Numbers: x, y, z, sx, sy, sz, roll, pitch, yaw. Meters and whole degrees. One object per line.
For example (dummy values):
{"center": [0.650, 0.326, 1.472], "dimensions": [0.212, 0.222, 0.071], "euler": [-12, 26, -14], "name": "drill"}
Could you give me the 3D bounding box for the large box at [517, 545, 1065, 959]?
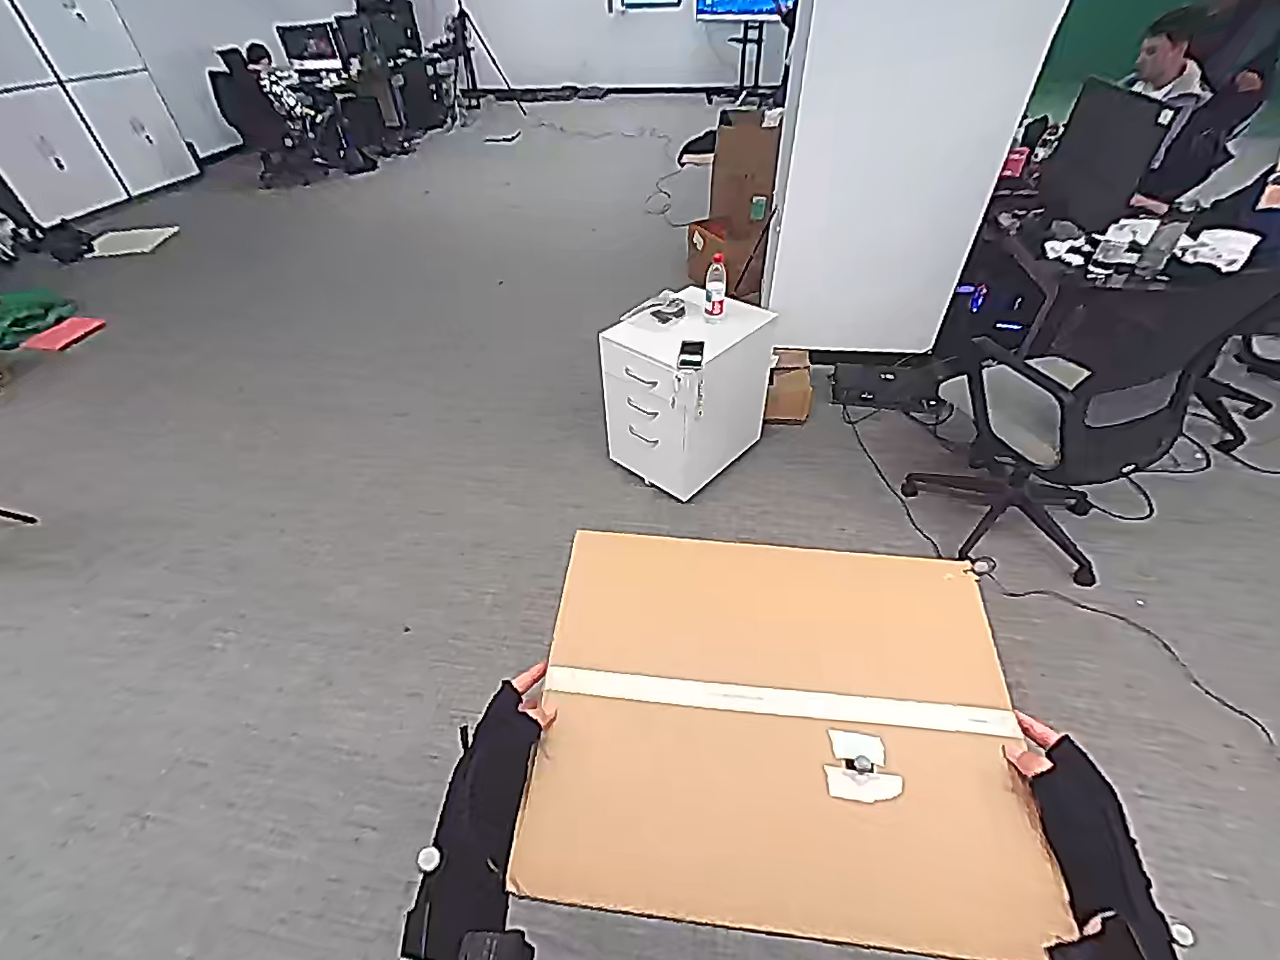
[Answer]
{"center": [0.118, 0.293, 0.597], "dimensions": [0.408, 0.320, 0.320], "euler": [5, 55, 5], "name": "large box"}
